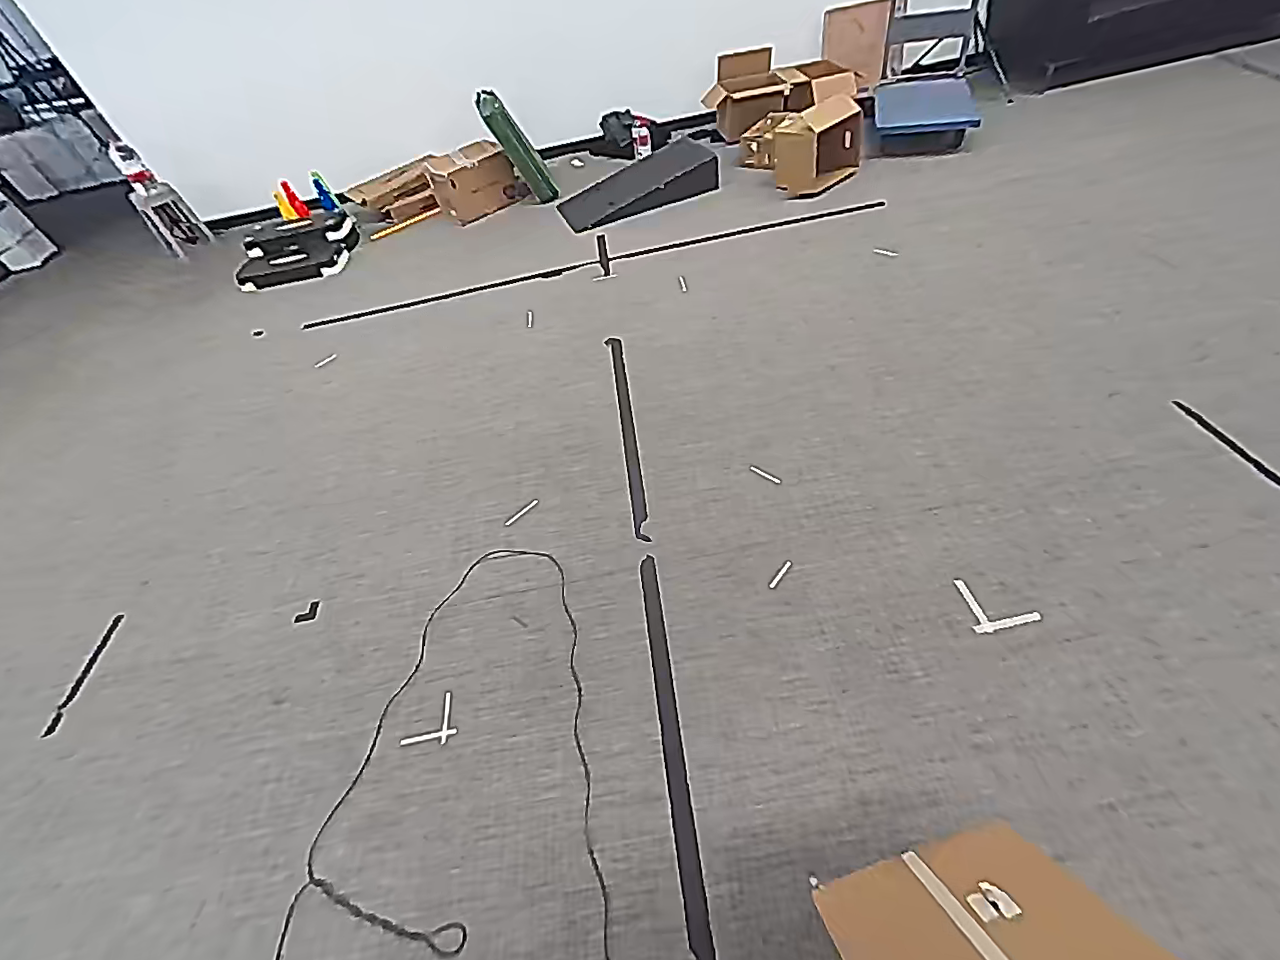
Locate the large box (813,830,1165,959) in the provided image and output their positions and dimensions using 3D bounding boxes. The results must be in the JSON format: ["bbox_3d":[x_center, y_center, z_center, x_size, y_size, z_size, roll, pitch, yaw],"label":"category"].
[{"bbox_3d":[0.455,0.699,0.603,0.320,0.408,0.320,-18,84,-3],"label":"large box"}]
